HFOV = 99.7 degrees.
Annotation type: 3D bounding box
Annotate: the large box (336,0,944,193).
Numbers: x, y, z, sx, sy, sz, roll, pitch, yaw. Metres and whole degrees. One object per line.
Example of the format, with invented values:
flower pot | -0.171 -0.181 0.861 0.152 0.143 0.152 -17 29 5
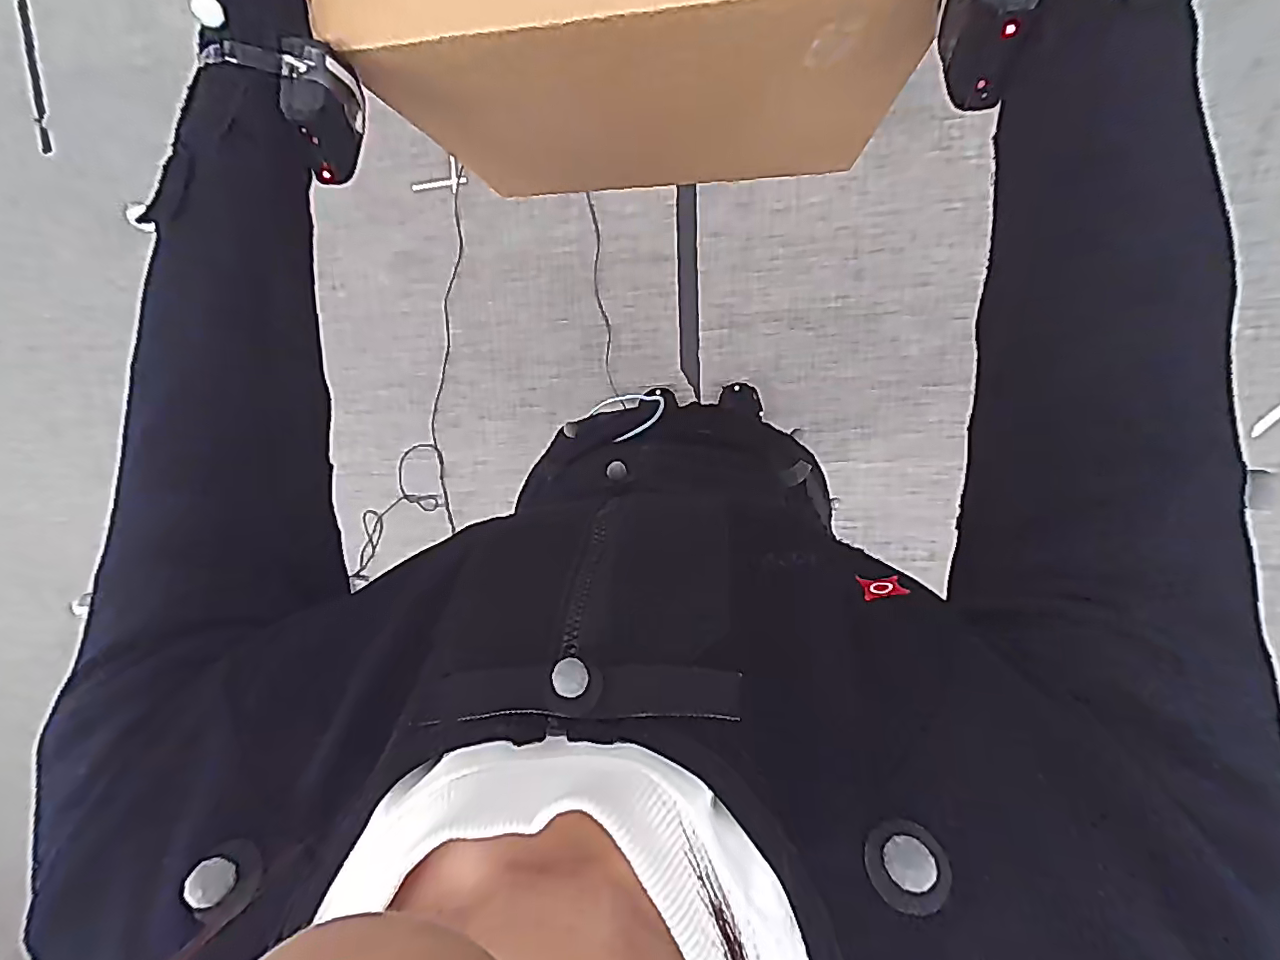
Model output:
large box | 0.008 -0.468 0.450 0.408 0.320 0.320 -1 102 7
